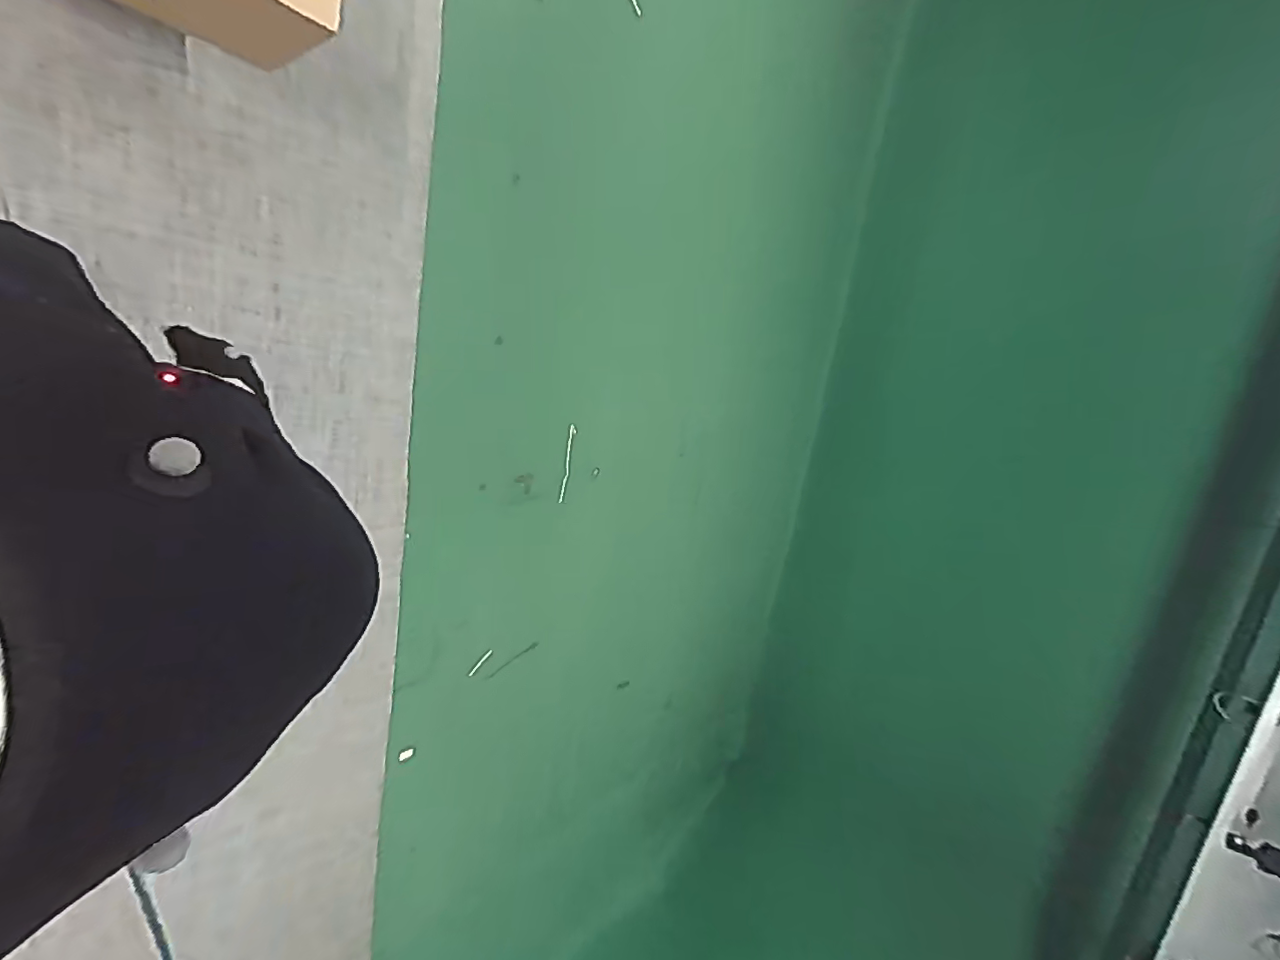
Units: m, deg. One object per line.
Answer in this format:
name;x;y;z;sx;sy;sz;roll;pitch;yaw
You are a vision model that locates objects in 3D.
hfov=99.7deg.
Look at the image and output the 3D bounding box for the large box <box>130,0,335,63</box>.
large box;-0.699;-0.892;0.770;0.408;0.320;0.320;-3;106;-51
